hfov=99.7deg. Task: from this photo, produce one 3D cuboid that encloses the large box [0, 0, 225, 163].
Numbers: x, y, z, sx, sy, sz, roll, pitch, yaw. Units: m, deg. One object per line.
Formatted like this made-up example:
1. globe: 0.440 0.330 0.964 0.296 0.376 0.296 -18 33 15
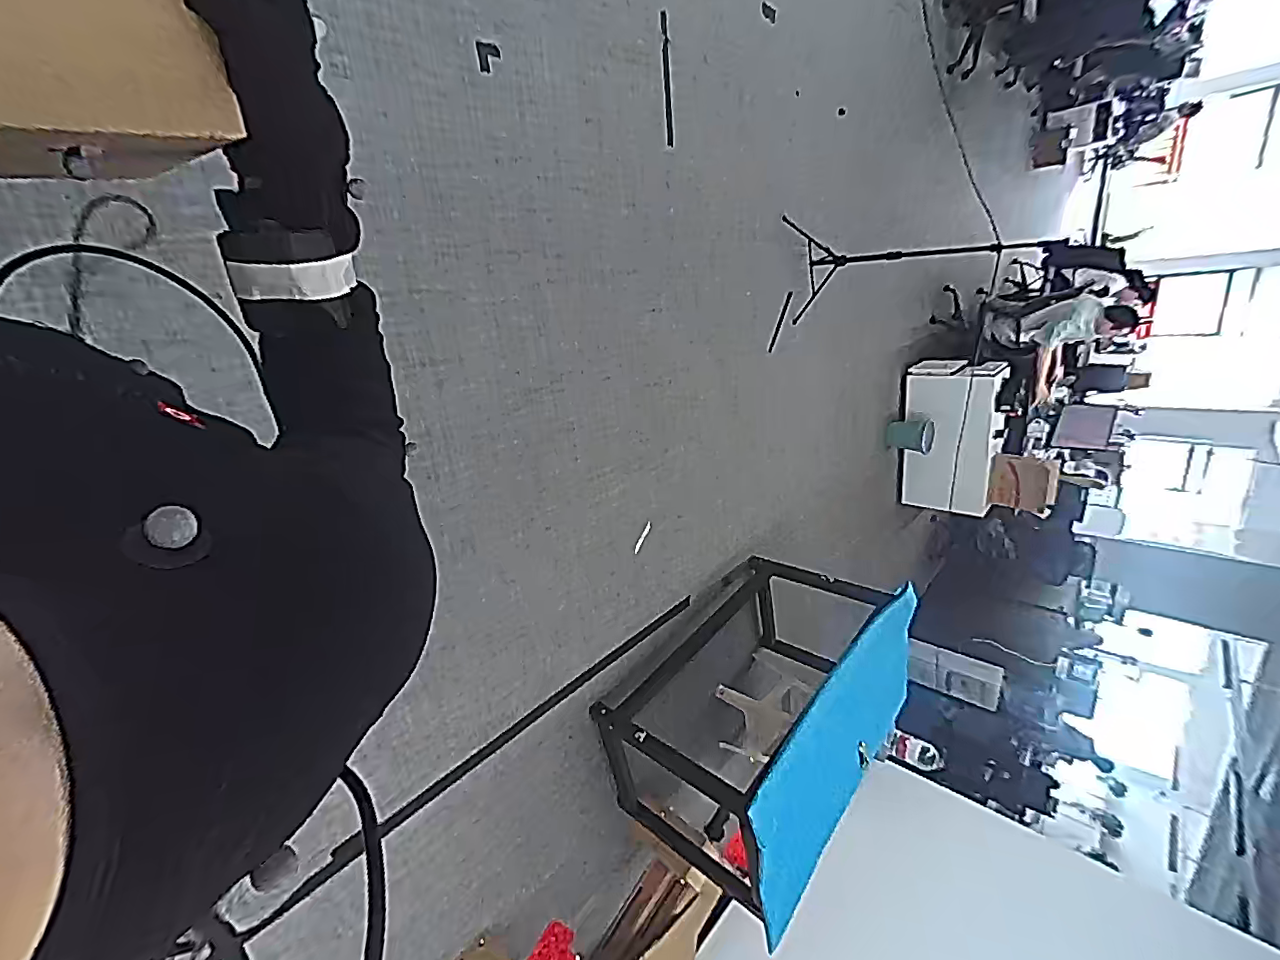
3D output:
1. large box: -0.477 -0.303 0.201 0.408 0.320 0.320 -27 125 -40
